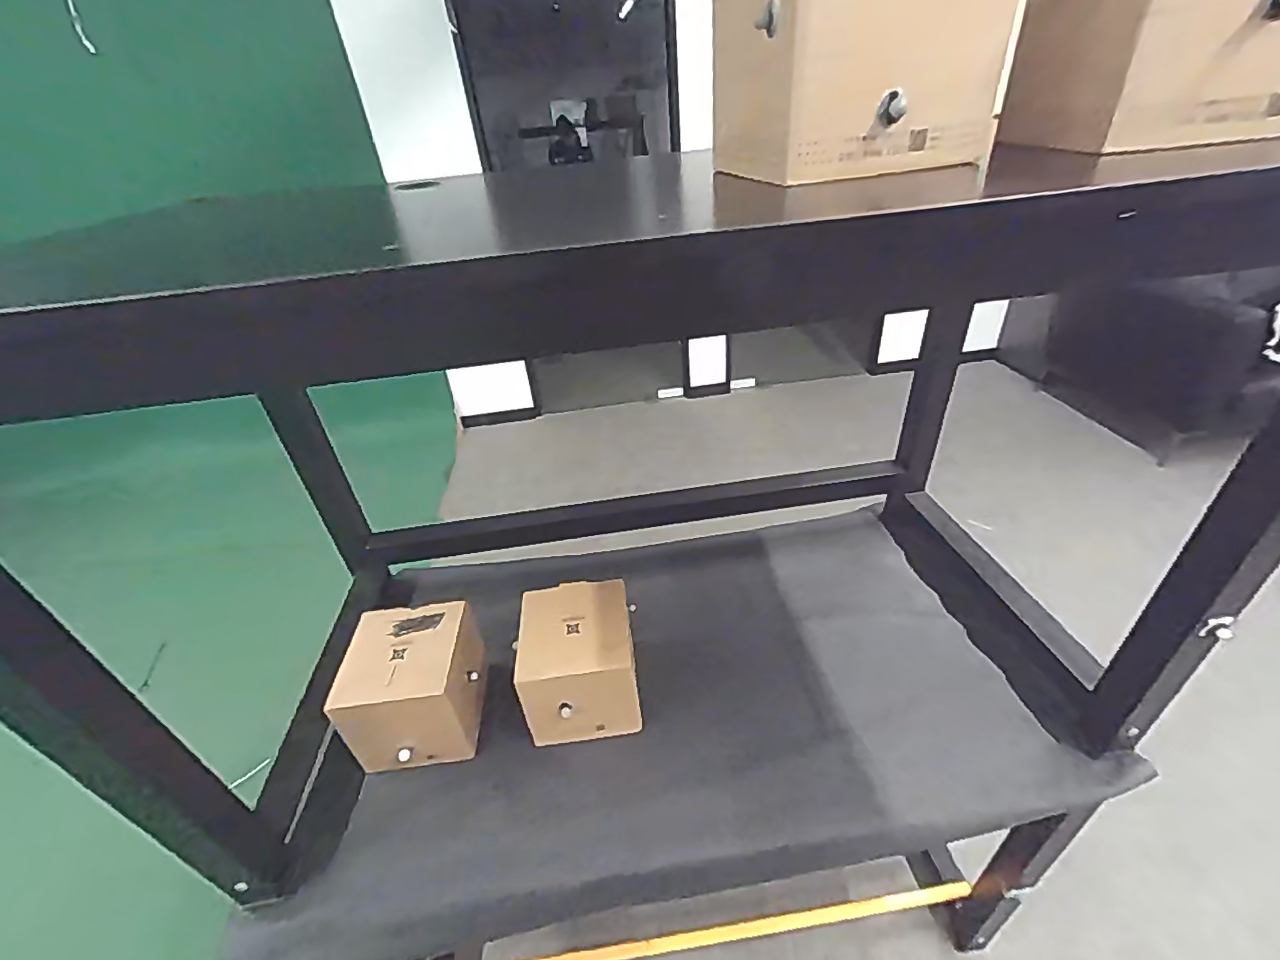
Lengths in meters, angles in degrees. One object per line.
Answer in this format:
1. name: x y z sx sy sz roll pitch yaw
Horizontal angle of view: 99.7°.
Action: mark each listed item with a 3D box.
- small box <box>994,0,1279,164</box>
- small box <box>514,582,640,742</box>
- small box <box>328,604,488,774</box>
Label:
1. small box: 0.414 -0.348 0.415 0.168 0.176 0.179 -1 34 6
2. small box: -0.094 0.292 0.859 0.168 0.176 0.179 -7 33 -2
3. small box: -0.344 0.323 0.846 0.168 0.176 0.179 -7 34 -2
